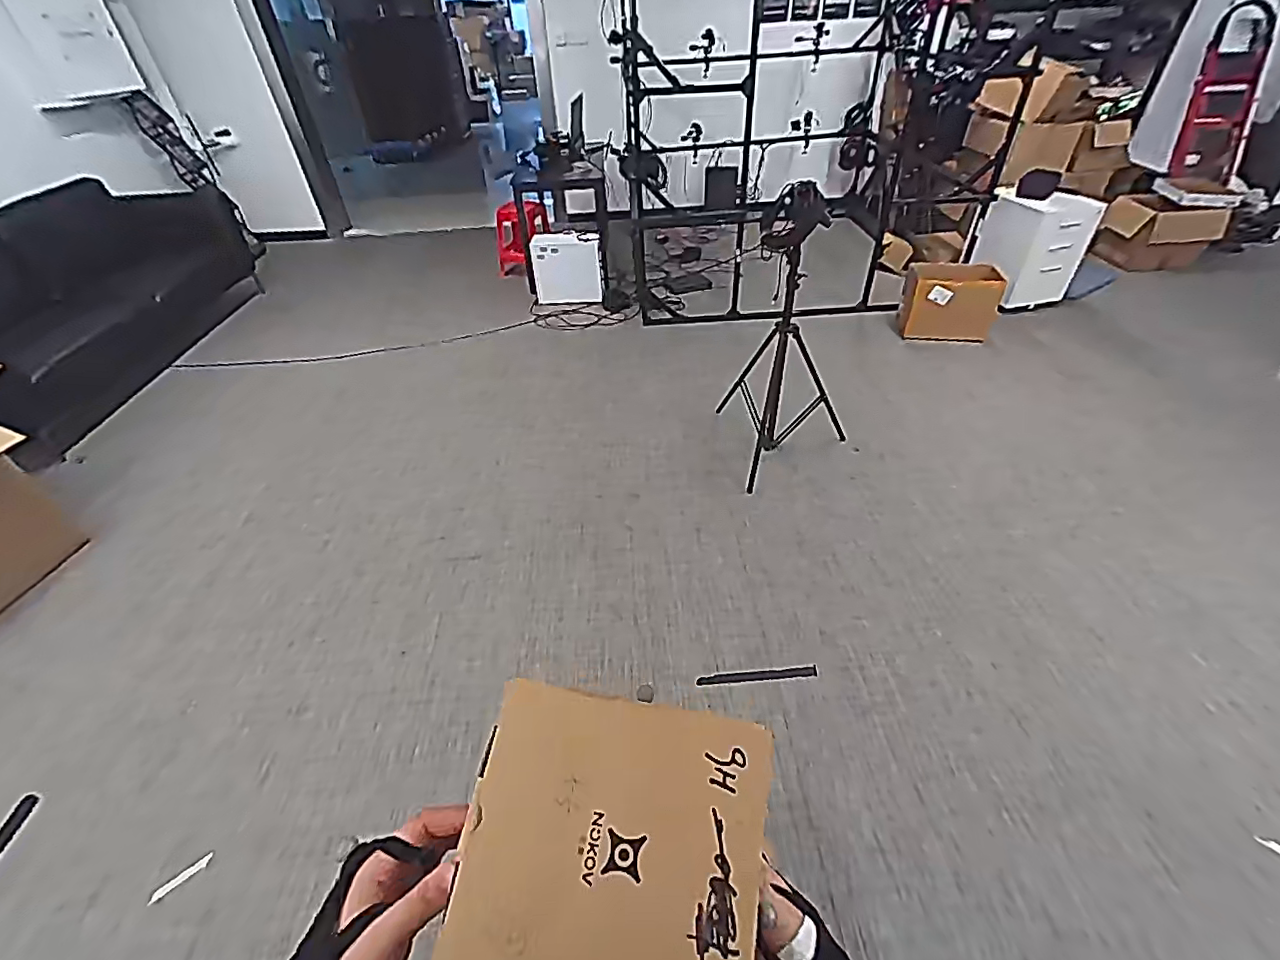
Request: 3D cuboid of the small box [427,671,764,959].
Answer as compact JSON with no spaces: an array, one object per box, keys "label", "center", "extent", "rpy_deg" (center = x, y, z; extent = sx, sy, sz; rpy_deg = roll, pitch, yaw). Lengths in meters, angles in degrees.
[{"label":"small box","center":[-0.016,0.248,0.393],"extent":[0.179,0.176,0.168],"rpy_deg":[8,66,7]}]
